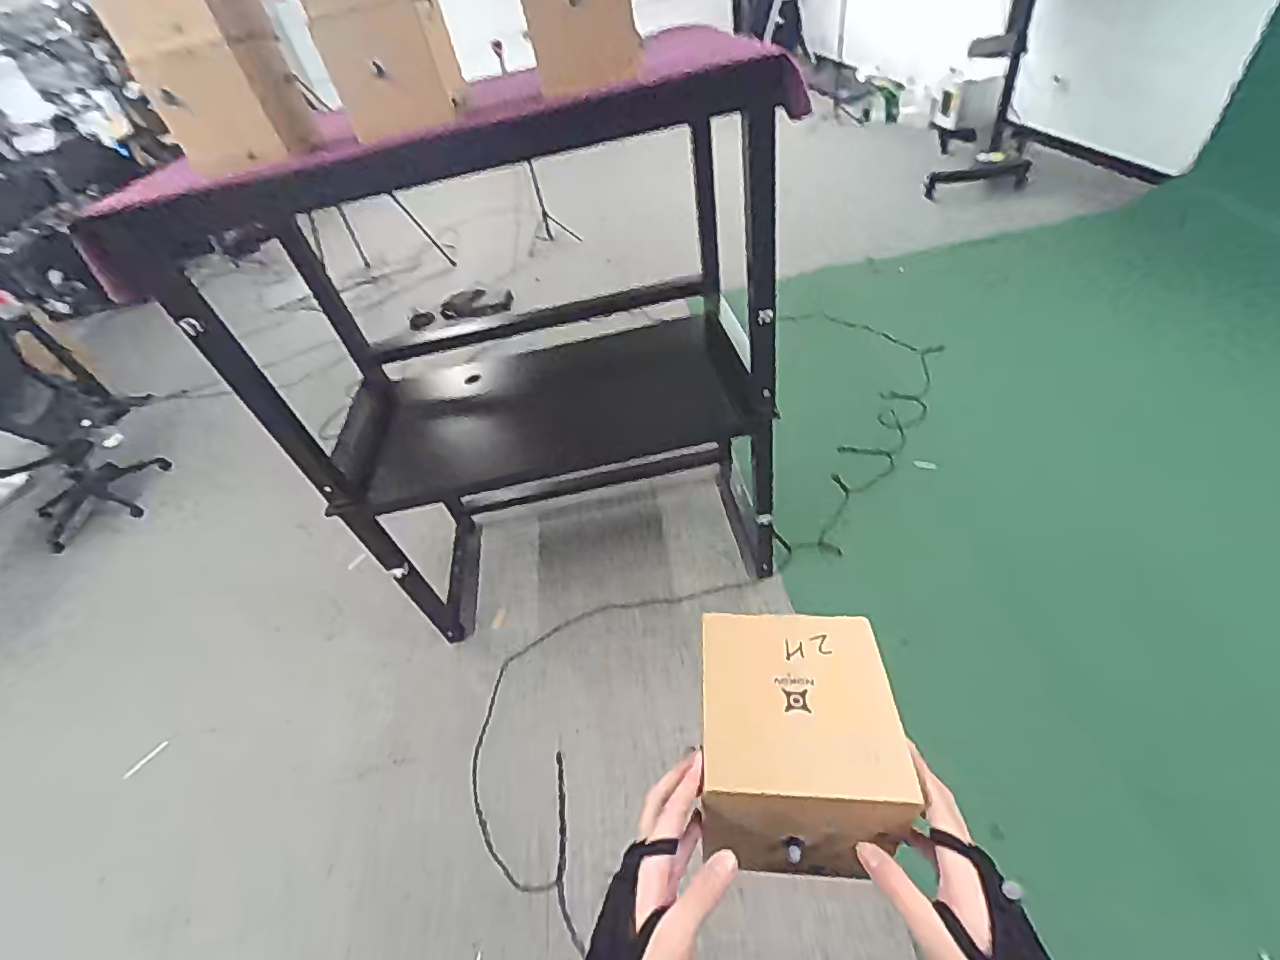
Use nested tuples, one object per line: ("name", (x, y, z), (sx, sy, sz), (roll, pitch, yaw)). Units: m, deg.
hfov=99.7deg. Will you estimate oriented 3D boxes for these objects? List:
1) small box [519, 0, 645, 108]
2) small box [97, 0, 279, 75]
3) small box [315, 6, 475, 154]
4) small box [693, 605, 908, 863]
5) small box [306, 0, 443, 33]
("small box", (-0.094, -0.771, 0.938), (0.179, 0.176, 0.168), (-9, 43, 6))
("small box", (-0.722, -0.764, 0.855), (0.168, 0.176, 0.179), (-9, 42, 5))
("small box", (-0.410, -0.696, 0.943), (0.179, 0.176, 0.168), (-10, 43, 6))
("small box", (0.138, 0.246, 0.531), (0.168, 0.176, 0.179), (0, 37, 6))
("small box", (-0.435, -0.818, 0.836), (0.179, 0.176, 0.168), (-11, 43, 4))
